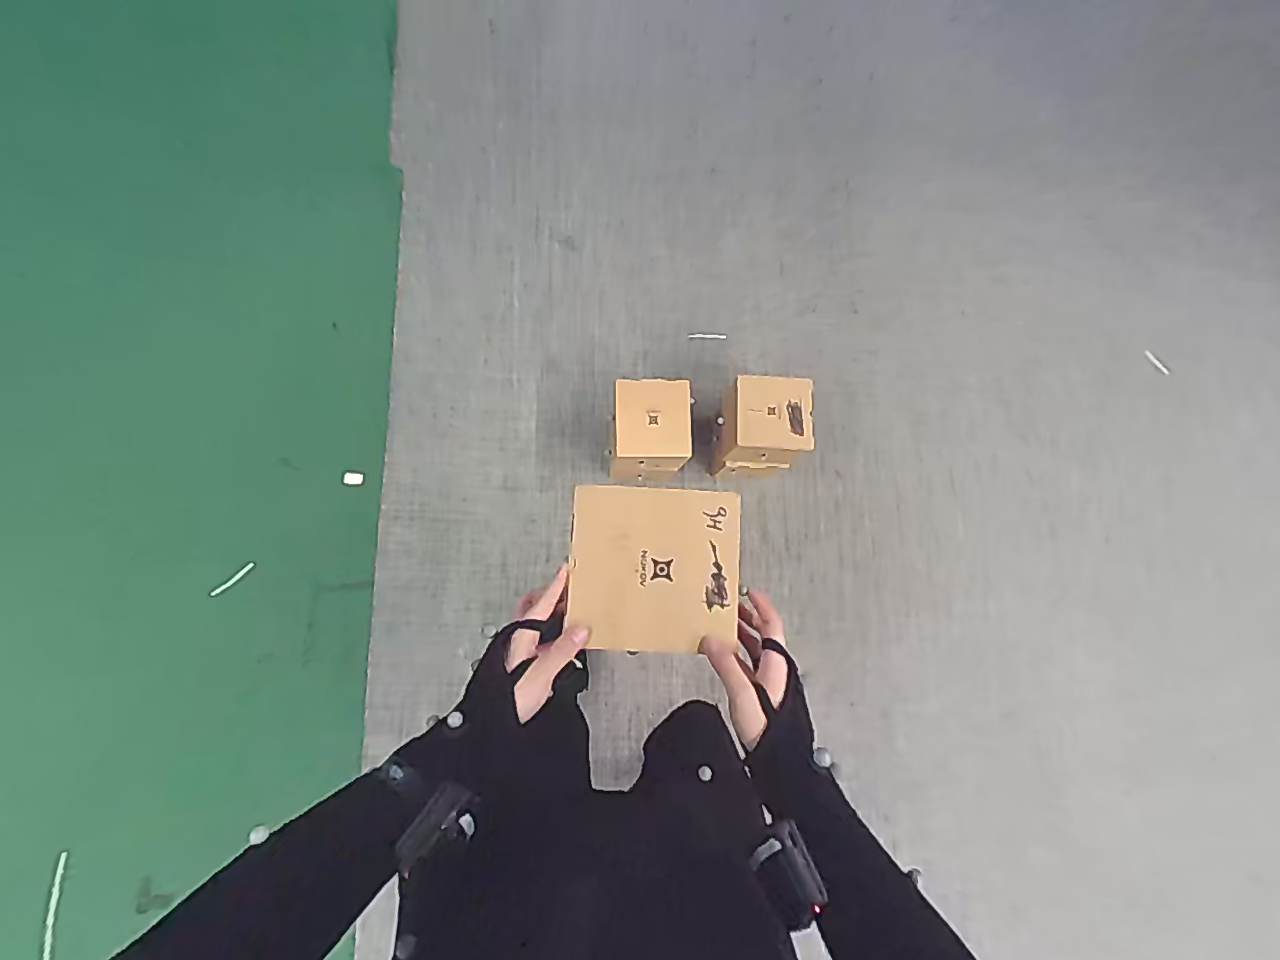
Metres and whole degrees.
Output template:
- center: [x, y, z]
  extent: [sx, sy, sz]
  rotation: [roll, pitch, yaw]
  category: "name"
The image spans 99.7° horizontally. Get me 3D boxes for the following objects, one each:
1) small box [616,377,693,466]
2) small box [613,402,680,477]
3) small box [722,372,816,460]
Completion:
- center: [0.030, -0.129, 1.256]
  extent: [0.168, 0.176, 0.179]
  rotation: [-1, 81, -4]
  category: "small box"
- center: [0.016, -0.106, 1.415]
  extent: [0.168, 0.176, 0.179]
  rotation: [2, 82, -4]
  category: "small box"
- center: [0.300, -0.145, 1.277]
  extent: [0.179, 0.176, 0.168]
  rotation: [3, 80, -3]
  category: "small box"
